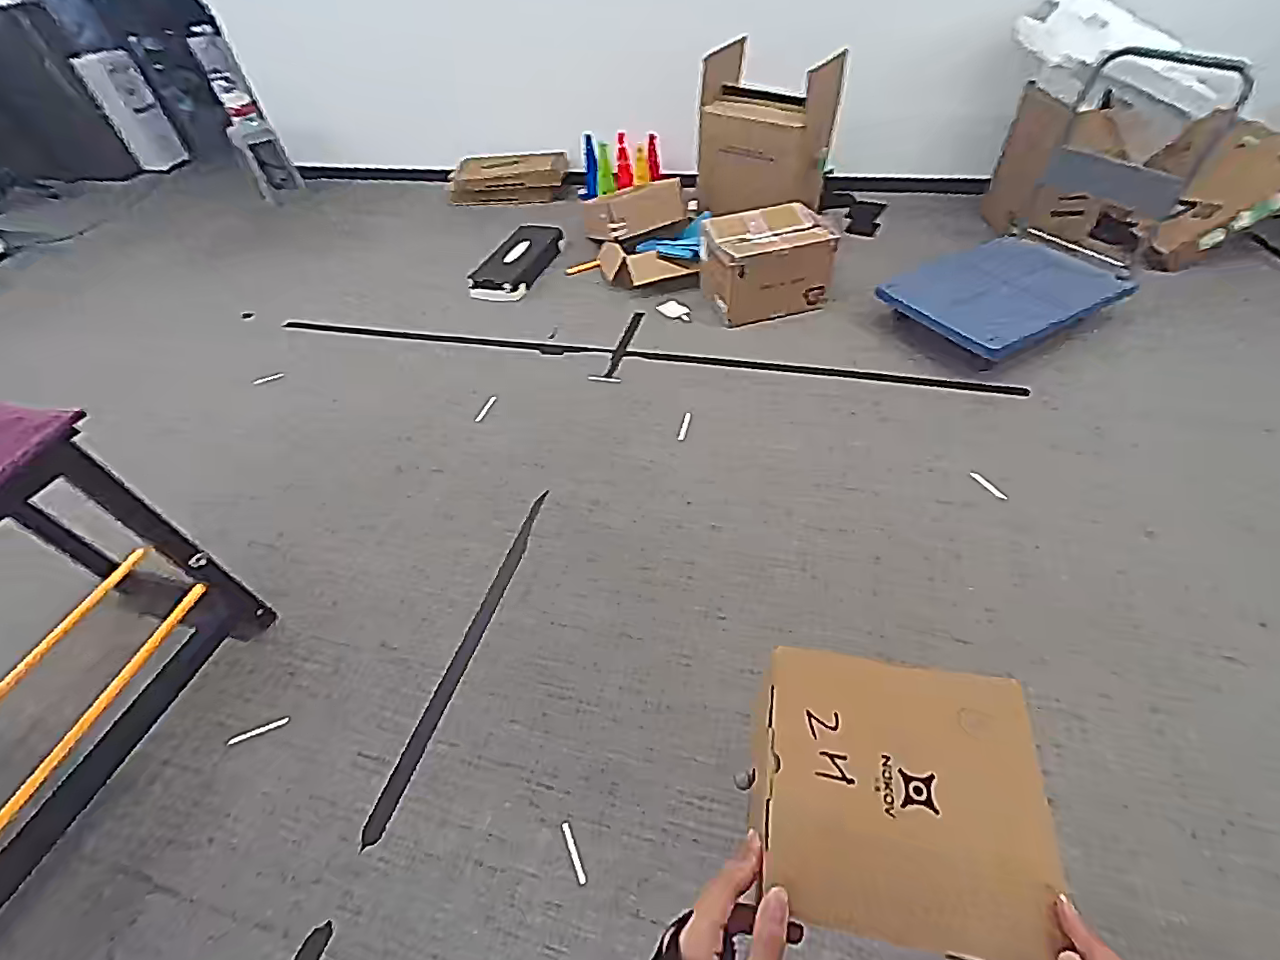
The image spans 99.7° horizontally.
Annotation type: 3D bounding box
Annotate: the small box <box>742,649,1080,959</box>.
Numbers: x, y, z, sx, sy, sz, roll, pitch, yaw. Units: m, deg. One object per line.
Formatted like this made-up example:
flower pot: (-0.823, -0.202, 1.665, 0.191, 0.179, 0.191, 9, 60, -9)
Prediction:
small box: (0.178, 0.249, 0.418, 0.179, 0.176, 0.168, 5, 55, 10)
